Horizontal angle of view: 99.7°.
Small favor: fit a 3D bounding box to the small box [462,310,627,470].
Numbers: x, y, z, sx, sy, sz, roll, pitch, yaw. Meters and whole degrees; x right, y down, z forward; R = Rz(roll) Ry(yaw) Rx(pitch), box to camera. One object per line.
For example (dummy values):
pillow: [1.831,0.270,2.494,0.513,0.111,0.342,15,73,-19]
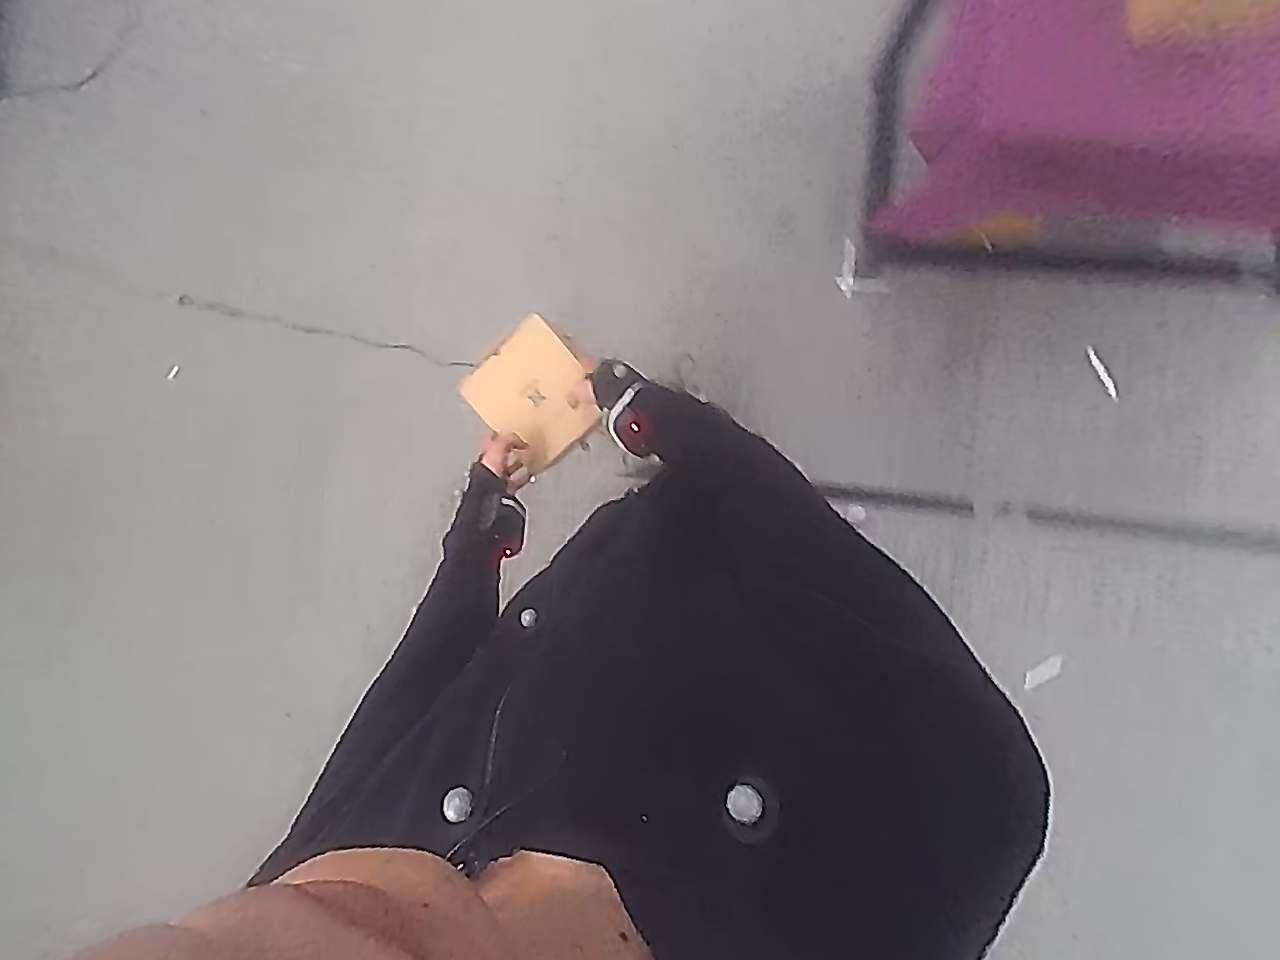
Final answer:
small box: [-0.141,-0.139,0.865,0.168,0.176,0.179,-40,94,10]
